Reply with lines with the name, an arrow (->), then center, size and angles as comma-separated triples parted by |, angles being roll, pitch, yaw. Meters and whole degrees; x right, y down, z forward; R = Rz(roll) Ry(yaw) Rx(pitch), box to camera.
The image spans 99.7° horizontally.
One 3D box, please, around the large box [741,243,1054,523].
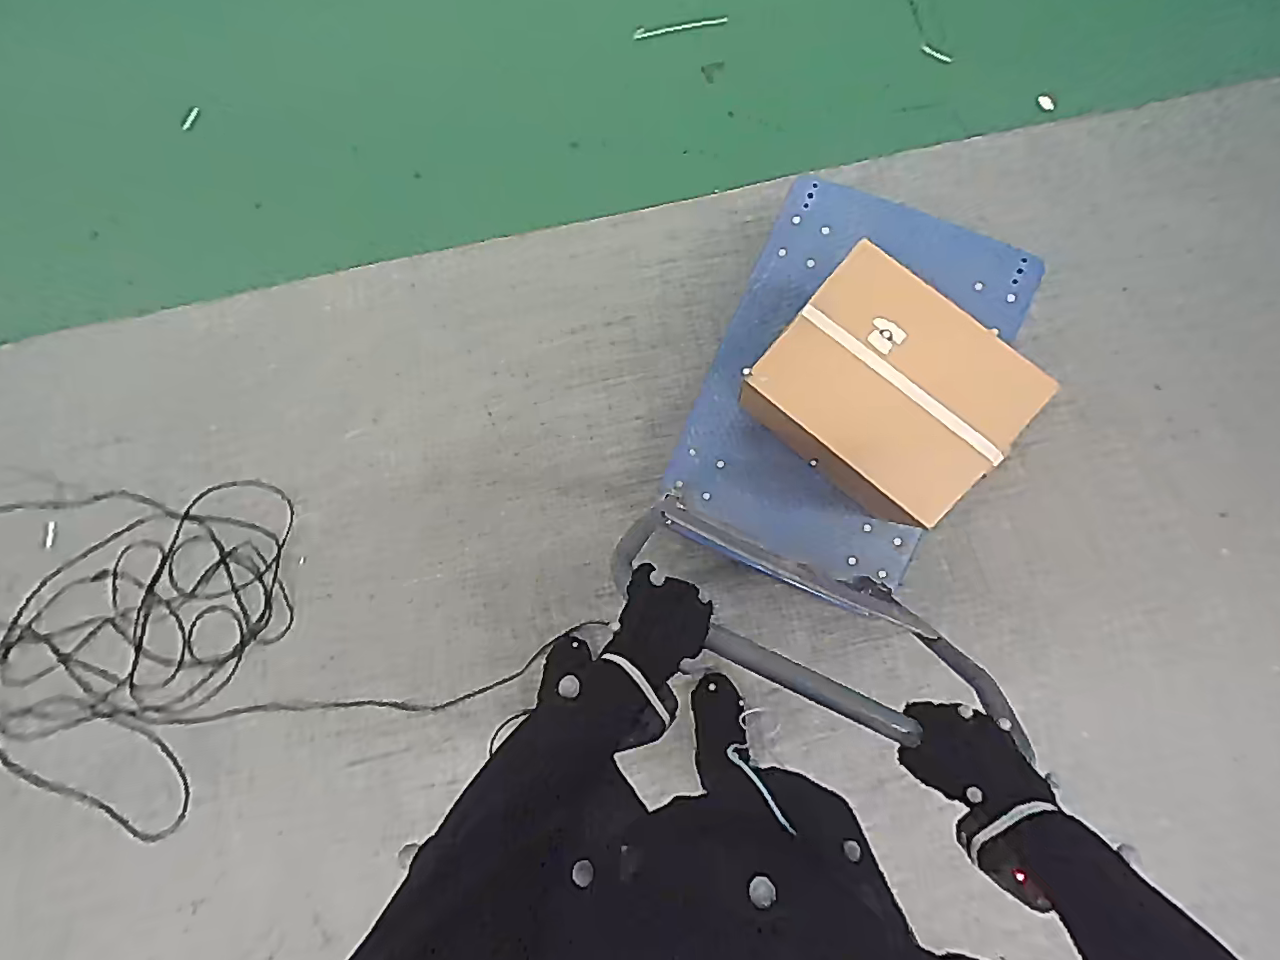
large box -> 0.449, -0.163, 1.054 | 0.408, 0.320, 0.320 | 40, 95, 8
